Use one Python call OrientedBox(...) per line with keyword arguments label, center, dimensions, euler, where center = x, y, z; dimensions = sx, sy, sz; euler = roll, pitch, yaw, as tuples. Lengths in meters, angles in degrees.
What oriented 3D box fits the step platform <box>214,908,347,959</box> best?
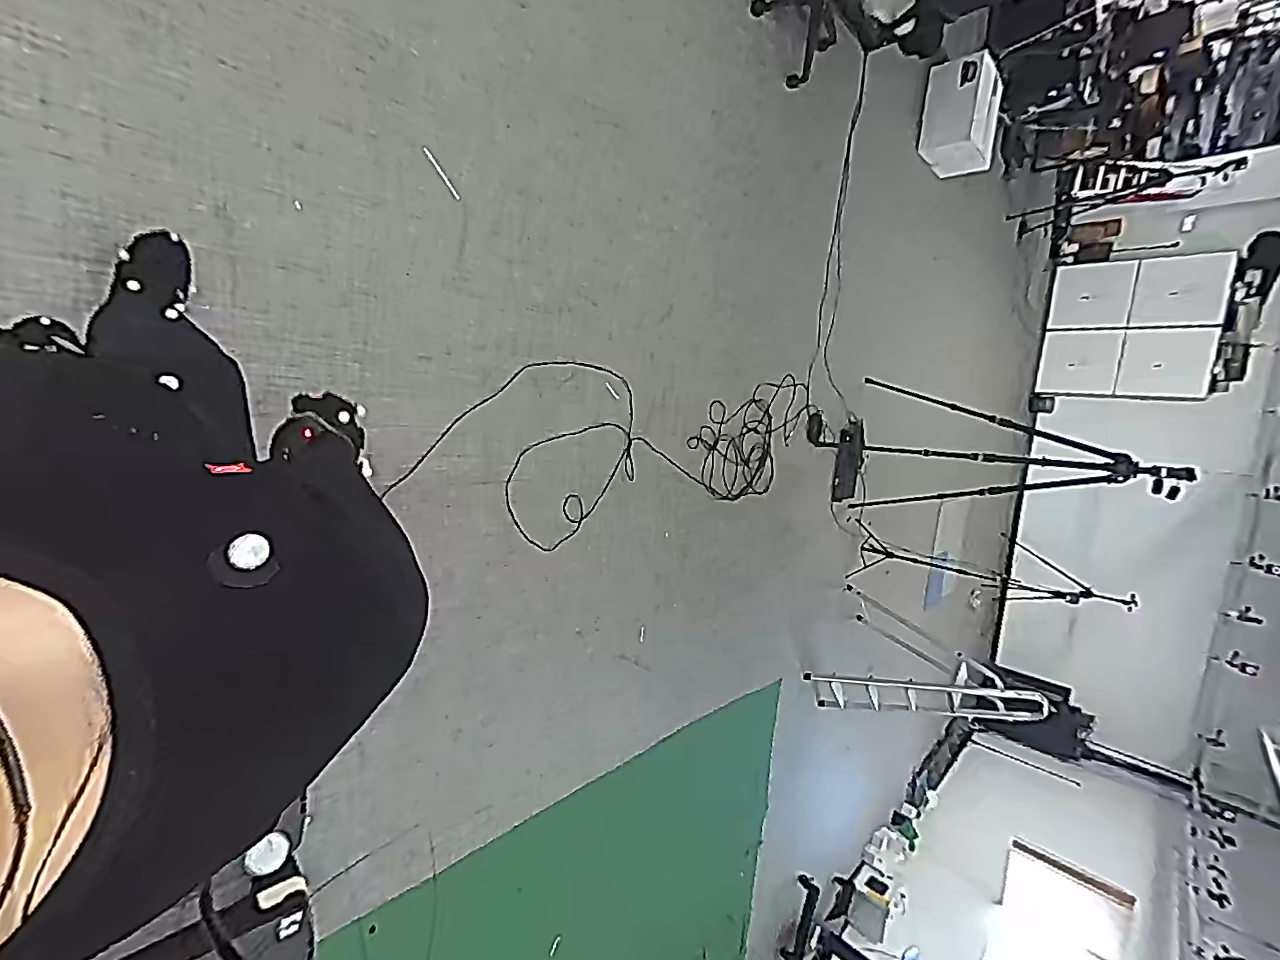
OrientedBox(label="step platform", center=(-0.969, 1.212, 1.076), dimensions=(0.684, 0.204, 0.286), euler=(-4, 101, -47))
